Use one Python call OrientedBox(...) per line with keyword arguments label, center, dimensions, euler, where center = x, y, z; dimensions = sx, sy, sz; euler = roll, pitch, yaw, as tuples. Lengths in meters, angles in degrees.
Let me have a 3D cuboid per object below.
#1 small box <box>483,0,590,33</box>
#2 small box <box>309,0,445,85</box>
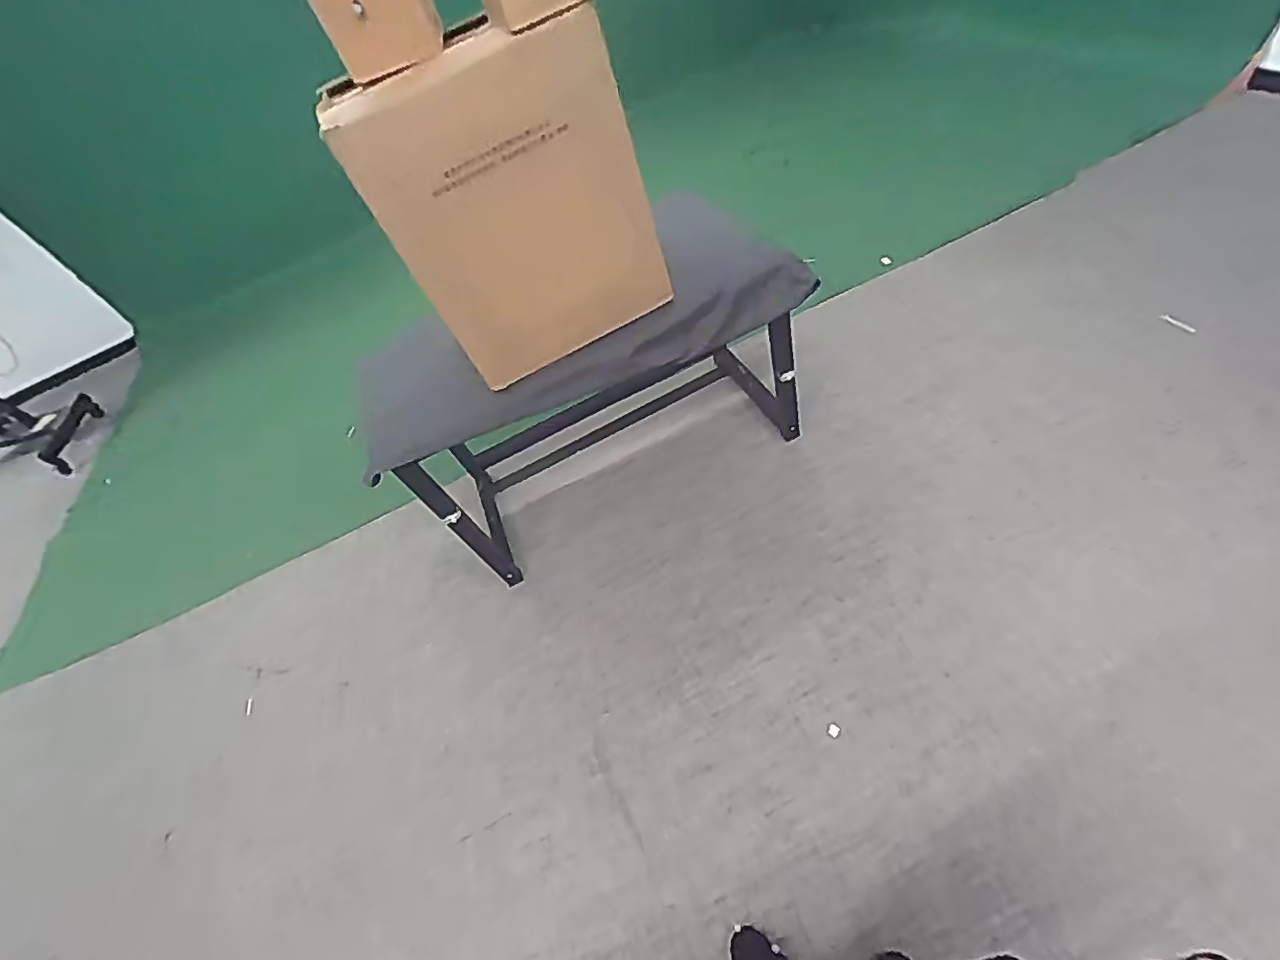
OrientedBox(label="small box", center=(-0.205, -0.914, 0.941), dimensions=(0.168, 0.176, 0.179), euler=(-28, 50, -4))
OrientedBox(label="small box", center=(-0.478, -0.861, 0.980), dimensions=(0.179, 0.176, 0.168), euler=(-17, 58, 5))
